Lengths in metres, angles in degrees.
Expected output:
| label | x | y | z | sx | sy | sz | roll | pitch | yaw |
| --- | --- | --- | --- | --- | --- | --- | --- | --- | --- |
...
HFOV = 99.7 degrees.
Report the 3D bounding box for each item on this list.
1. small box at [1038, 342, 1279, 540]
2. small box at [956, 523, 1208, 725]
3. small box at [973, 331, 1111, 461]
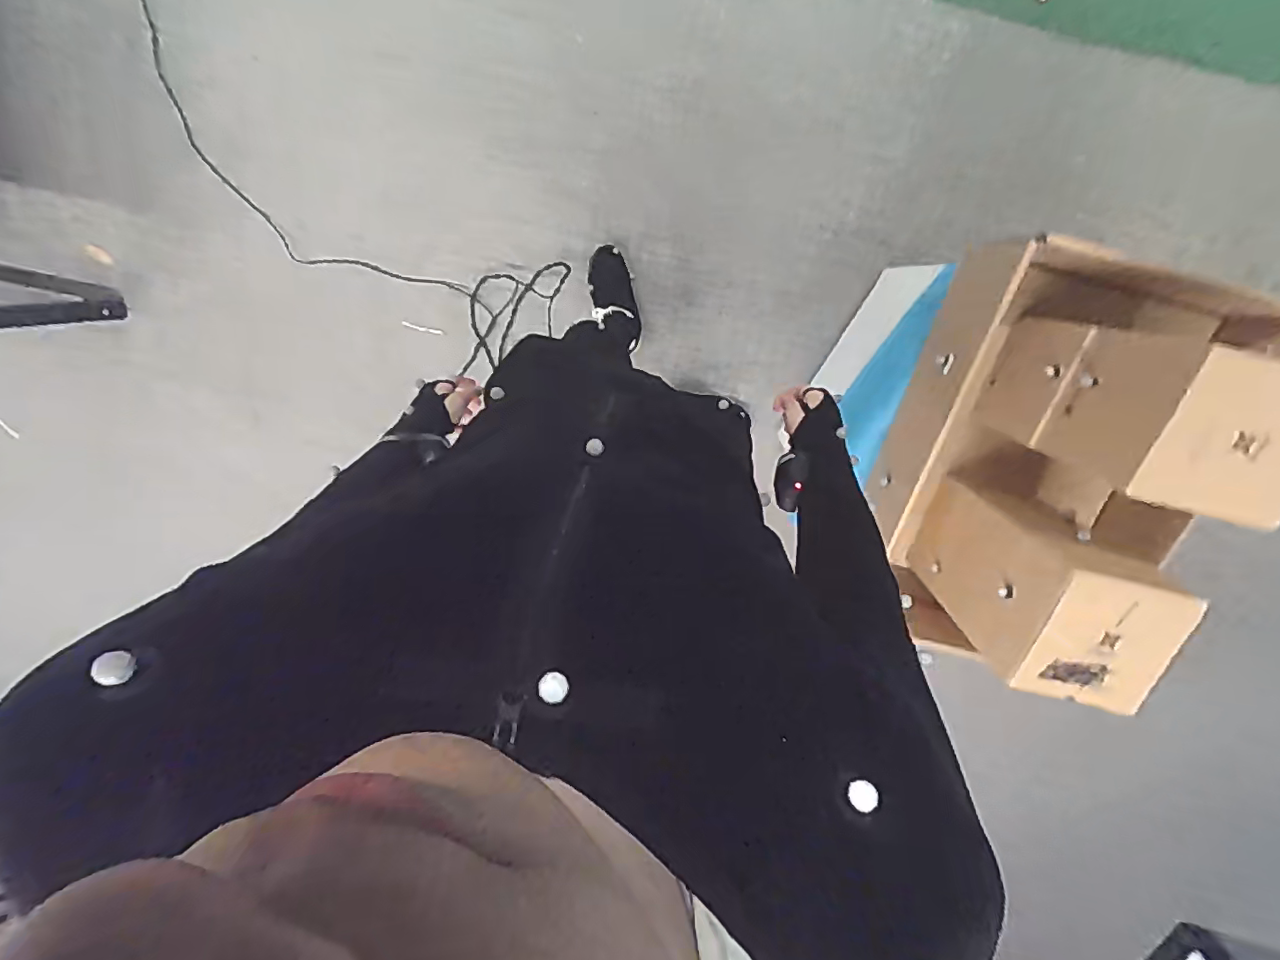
| label | x | y | z | sx | sy | sz | roll | pitch | yaw |
| --- | --- | --- | --- | --- | --- | --- | --- | --- | --- |
| small box | 0.631 | -0.056 | 0.632 | 0.179 | 0.176 | 0.168 | 15 | 111 | -1 |
| small box | 0.562 | 0.183 | 0.723 | 0.168 | 0.176 | 0.179 | 14 | 109 | -1 |
| small box | 0.638 | -0.113 | 0.785 | 0.179 | 0.176 | 0.168 | 15 | 110 | -2 |
